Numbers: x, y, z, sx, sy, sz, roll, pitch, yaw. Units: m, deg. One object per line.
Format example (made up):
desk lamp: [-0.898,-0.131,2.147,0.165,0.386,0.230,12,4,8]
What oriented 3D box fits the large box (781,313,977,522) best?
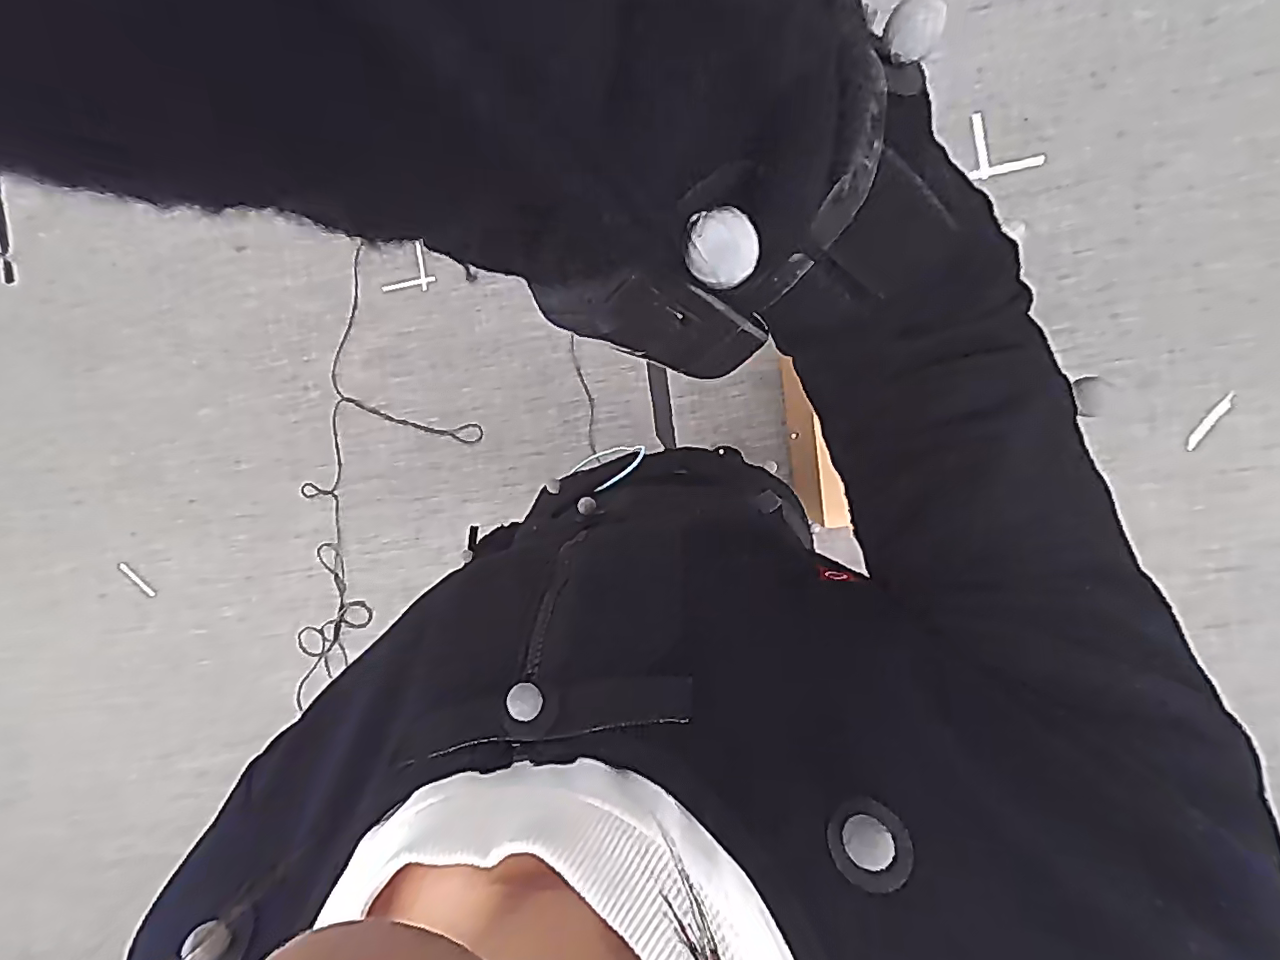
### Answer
large box: [0.527,-0.129,1.262,0.320,0.320,0.408,-6,91,4]
